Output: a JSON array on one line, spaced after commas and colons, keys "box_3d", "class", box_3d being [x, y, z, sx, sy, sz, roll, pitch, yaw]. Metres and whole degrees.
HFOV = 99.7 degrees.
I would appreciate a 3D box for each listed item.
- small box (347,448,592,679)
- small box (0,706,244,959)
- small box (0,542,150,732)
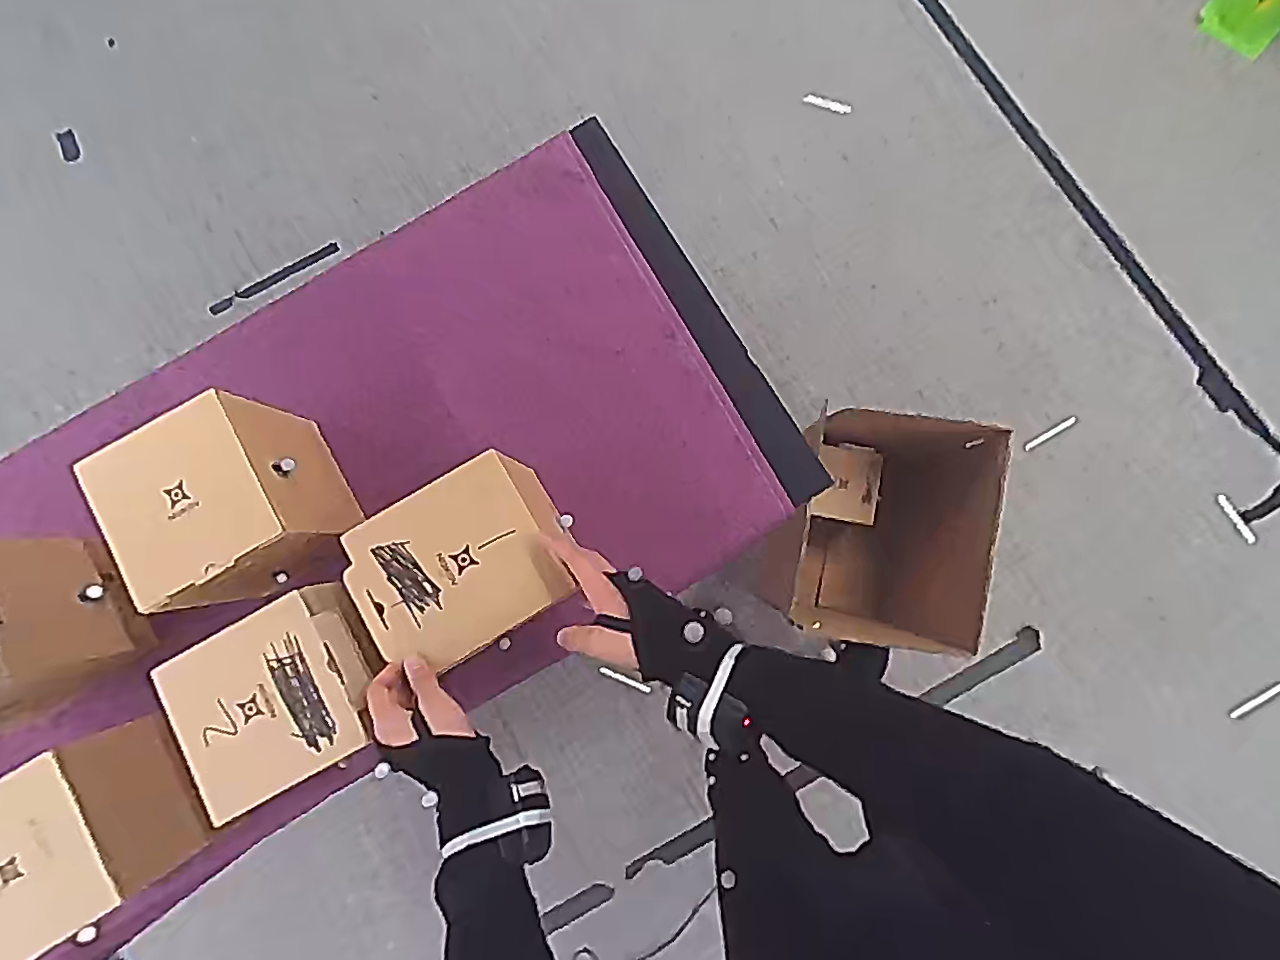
[{"box_3d": [-0.173, 0.089, 0.605, 0.179, 0.176, 0.168, -32, 83, -2], "class": "small box"}, {"box_3d": [-0.596, 0.383, 0.590, 0.179, 0.176, 0.168, -32, 84, -2], "class": "small box"}, {"box_3d": [-0.734, 0.185, 0.613, 0.179, 0.176, 0.168, -34, 85, -2], "class": "small box"}]
